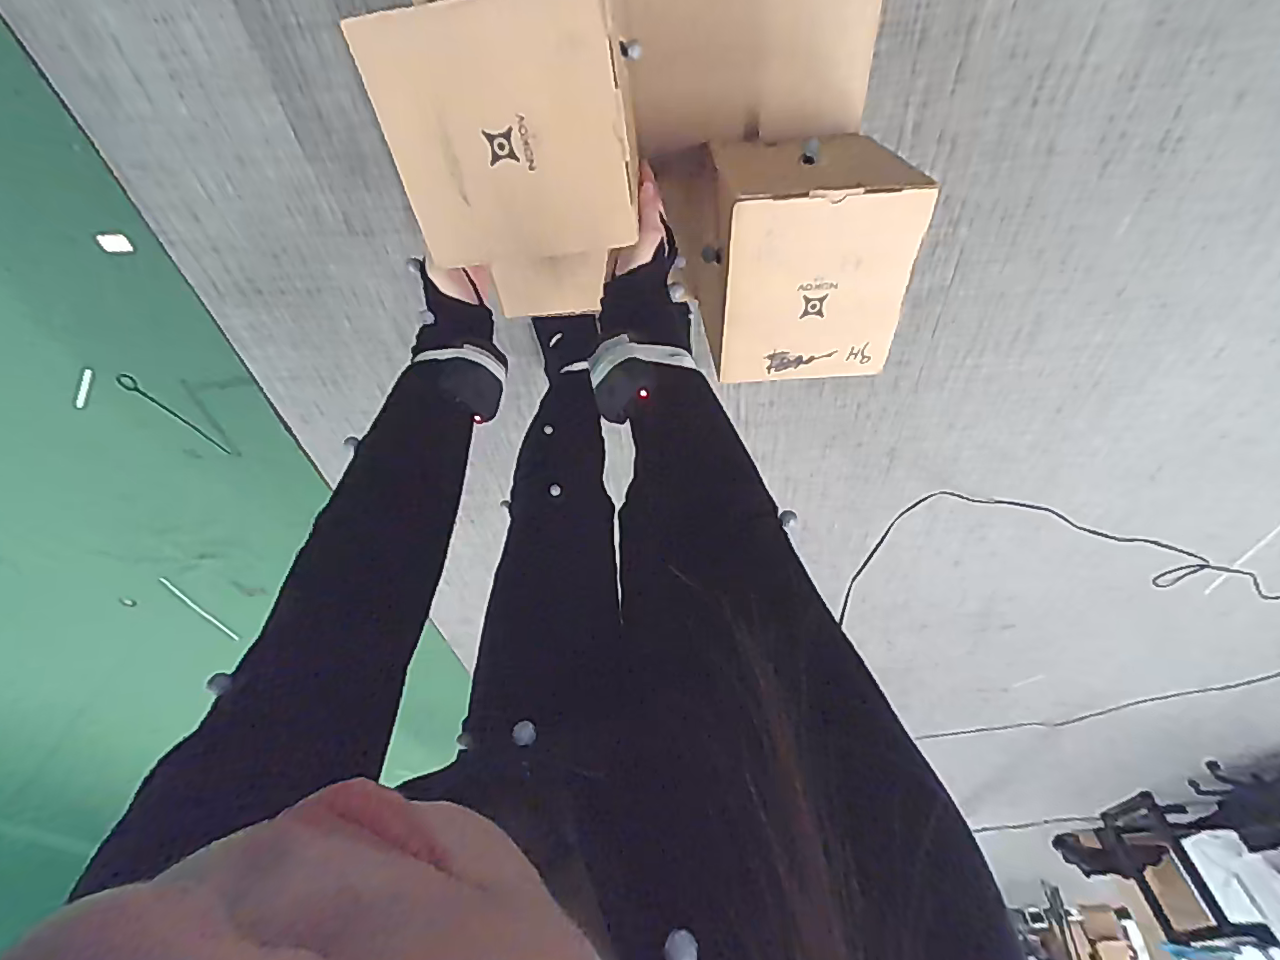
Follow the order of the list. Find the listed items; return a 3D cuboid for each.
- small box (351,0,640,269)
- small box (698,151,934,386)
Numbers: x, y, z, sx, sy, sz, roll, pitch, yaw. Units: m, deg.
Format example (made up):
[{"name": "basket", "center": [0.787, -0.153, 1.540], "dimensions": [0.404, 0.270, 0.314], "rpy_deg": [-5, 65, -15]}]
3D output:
[{"name": "small box", "center": [-0.095, -0.299, 0.455], "dimensions": [0.179, 0.176, 0.168], "rpy_deg": [-4, 132, 5]}, {"name": "small box", "center": [0.152, -0.216, 0.543], "dimensions": [0.168, 0.176, 0.179], "rpy_deg": [-3, 134, -1]}]
